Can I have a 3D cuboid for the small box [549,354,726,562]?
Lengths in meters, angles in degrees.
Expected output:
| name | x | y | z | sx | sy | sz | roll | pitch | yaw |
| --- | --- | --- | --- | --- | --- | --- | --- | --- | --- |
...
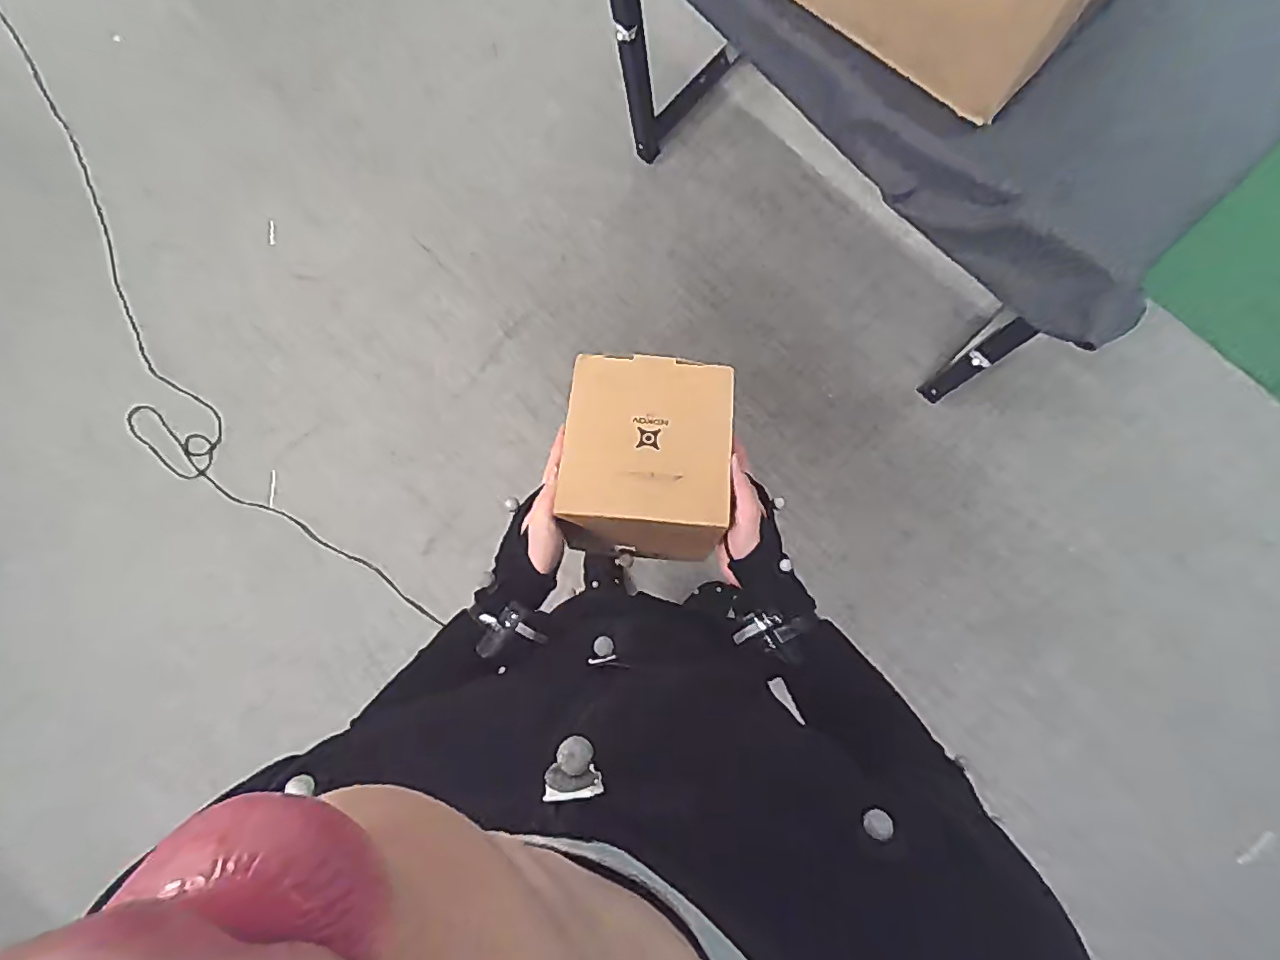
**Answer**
| name | x | y | z | sx | sy | sz | roll | pitch | yaw |
| --- | --- | --- | --- | --- | --- | --- | --- | --- | --- |
| small box | -0.002 | -0.016 | 0.612 | 0.168 | 0.176 | 0.179 | 6 | 70 | 0 |
